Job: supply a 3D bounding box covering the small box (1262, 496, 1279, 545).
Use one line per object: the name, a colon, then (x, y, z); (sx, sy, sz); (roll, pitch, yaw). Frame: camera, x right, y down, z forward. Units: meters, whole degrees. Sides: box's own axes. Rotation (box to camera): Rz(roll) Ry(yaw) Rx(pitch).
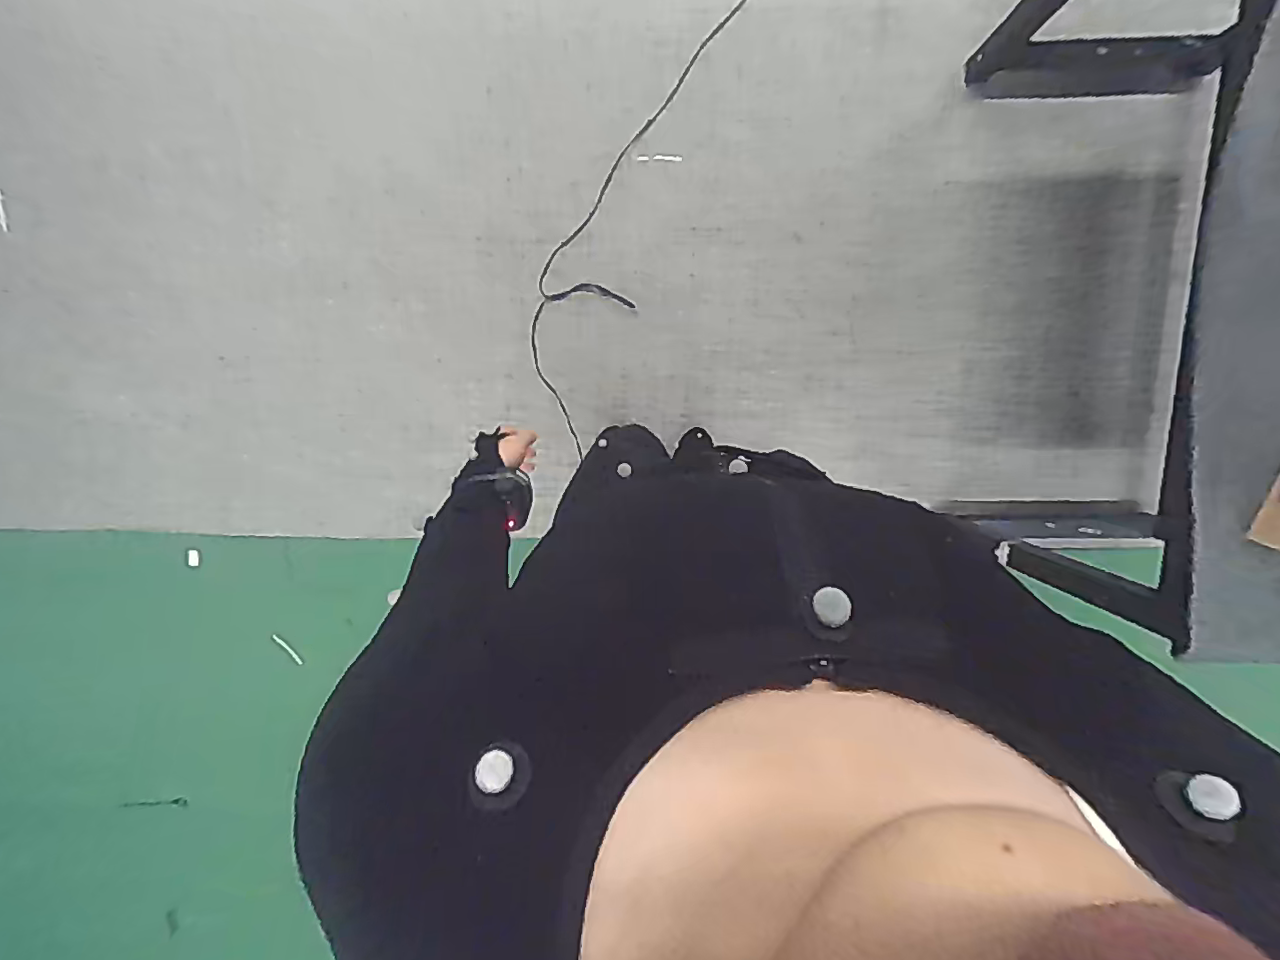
small box: (0.911, 0.039, 0.623); (0.179, 0.176, 0.168); (20, 98, -3)
